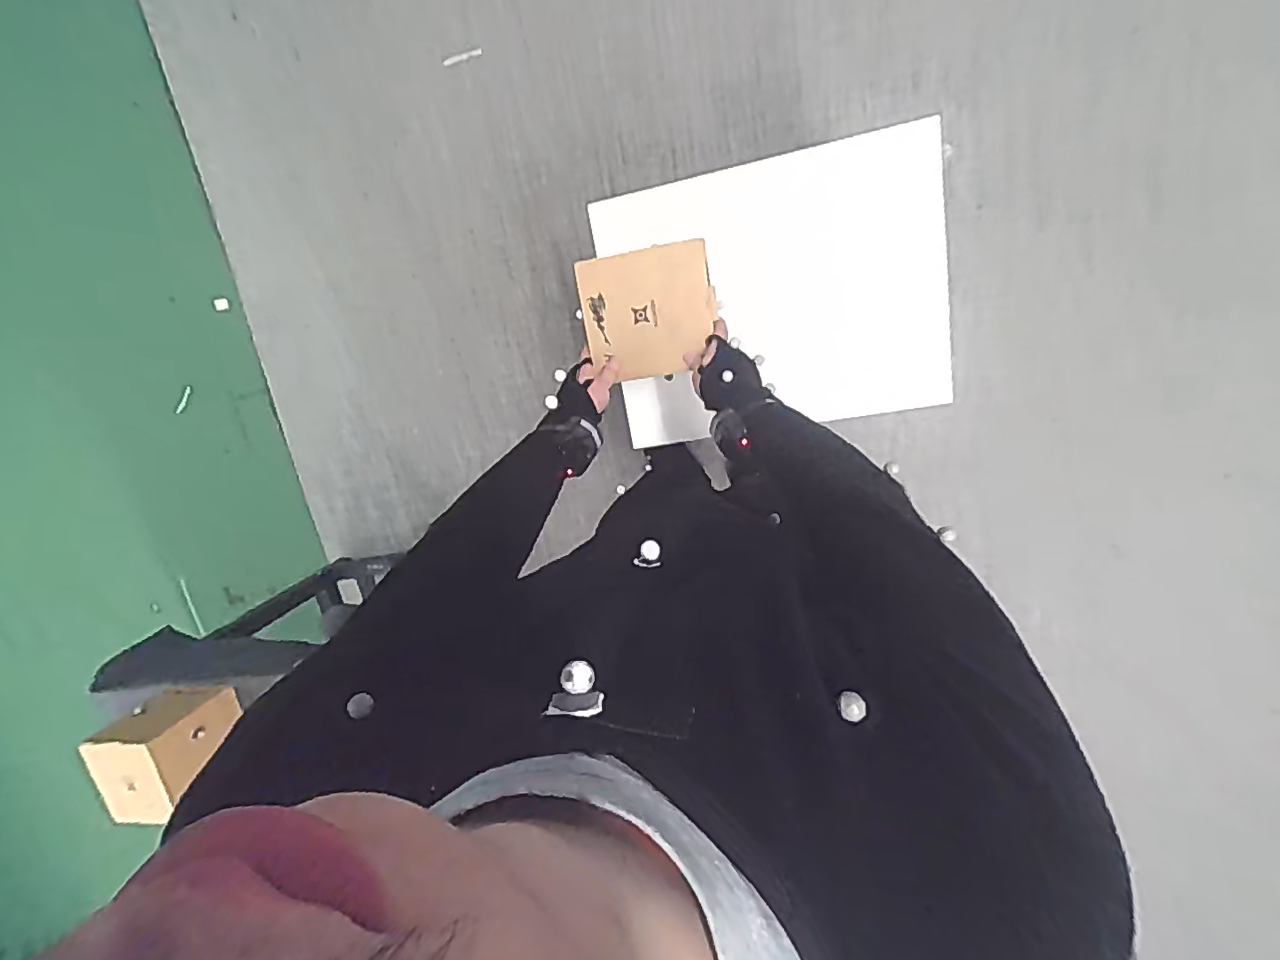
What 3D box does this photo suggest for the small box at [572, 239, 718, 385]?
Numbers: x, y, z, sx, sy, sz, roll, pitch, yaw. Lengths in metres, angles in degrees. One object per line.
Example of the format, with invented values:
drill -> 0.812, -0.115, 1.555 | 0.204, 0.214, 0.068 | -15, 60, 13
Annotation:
small box -> 0.018, -0.240, 0.787 | 0.179, 0.176, 0.168 | -7, 105, 11

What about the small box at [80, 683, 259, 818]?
small box -> -0.892, 0.511, 1.043 | 0.168, 0.176, 0.179 | -7, 106, 14
